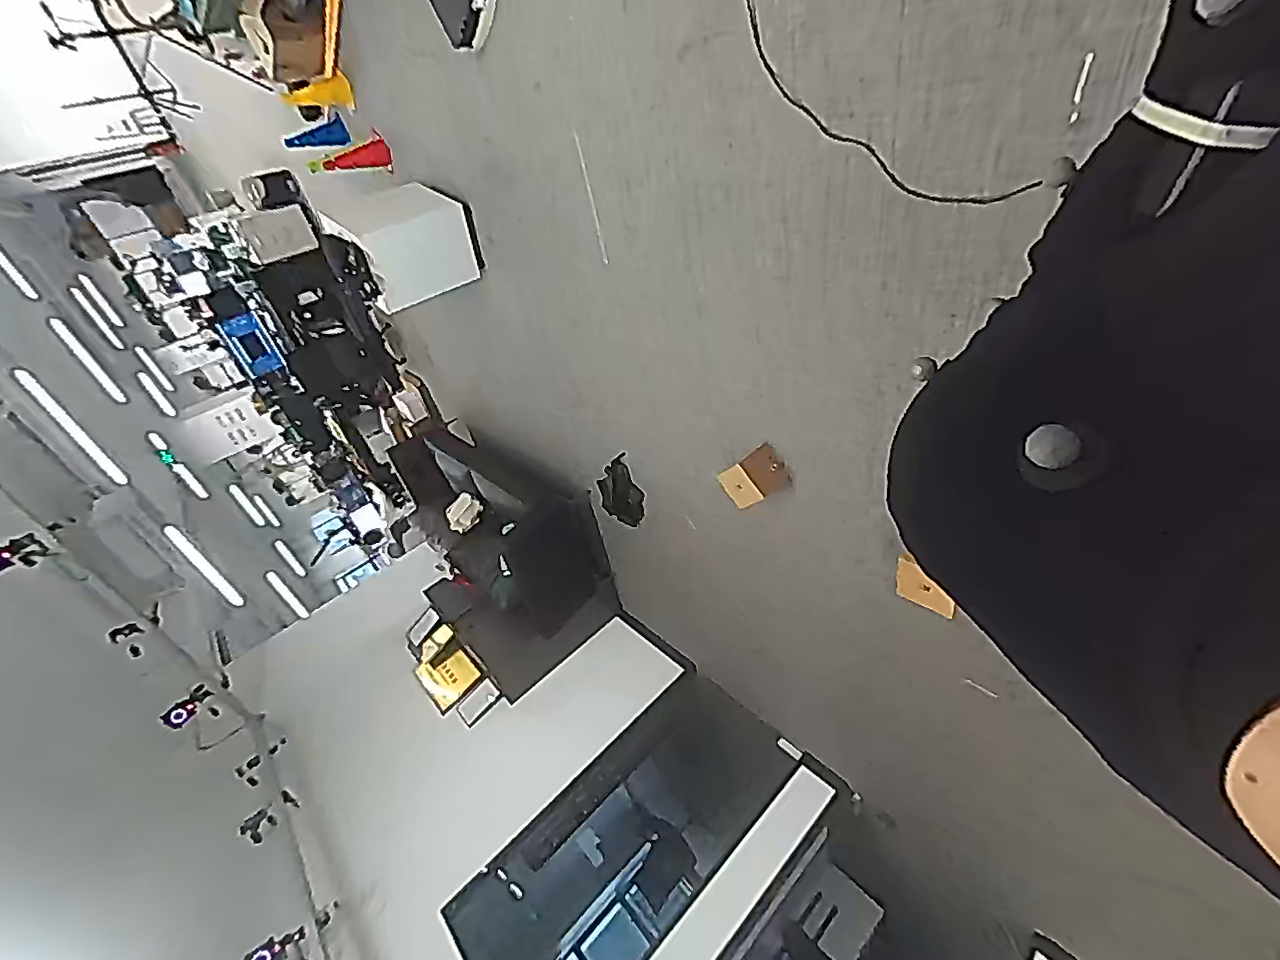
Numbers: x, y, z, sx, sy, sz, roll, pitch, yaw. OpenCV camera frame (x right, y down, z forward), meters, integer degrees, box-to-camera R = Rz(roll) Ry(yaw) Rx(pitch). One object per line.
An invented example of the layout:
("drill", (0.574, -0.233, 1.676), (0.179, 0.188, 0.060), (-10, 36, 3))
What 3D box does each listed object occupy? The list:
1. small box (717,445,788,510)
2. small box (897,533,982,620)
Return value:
("small box", (0.442, -0.010, 2.105), (0.168, 0.176, 0.179), (53, 152, 2))
("small box", (0.922, 0.289, 1.665), (0.179, 0.176, 0.168), (26, 141, 45))
